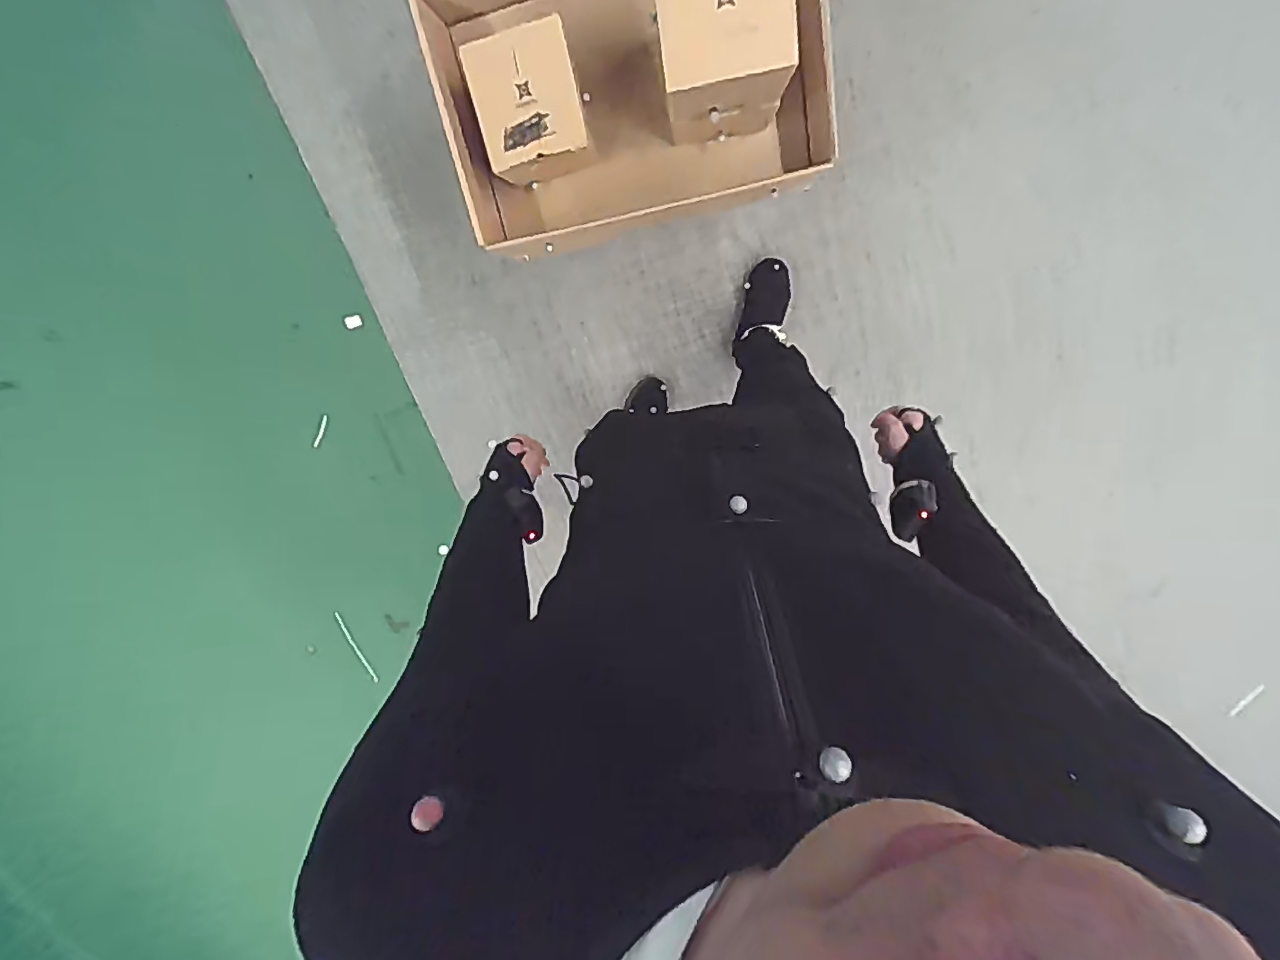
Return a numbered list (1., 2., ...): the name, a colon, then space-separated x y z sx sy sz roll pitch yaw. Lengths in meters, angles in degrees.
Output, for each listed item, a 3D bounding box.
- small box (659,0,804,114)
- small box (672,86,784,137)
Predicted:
1. small box: 0.110 -0.609 0.700 0.168 0.176 0.179 -6 111 8
2. small box: 0.127 -0.670 0.850 0.168 0.176 0.179 -6 111 7
